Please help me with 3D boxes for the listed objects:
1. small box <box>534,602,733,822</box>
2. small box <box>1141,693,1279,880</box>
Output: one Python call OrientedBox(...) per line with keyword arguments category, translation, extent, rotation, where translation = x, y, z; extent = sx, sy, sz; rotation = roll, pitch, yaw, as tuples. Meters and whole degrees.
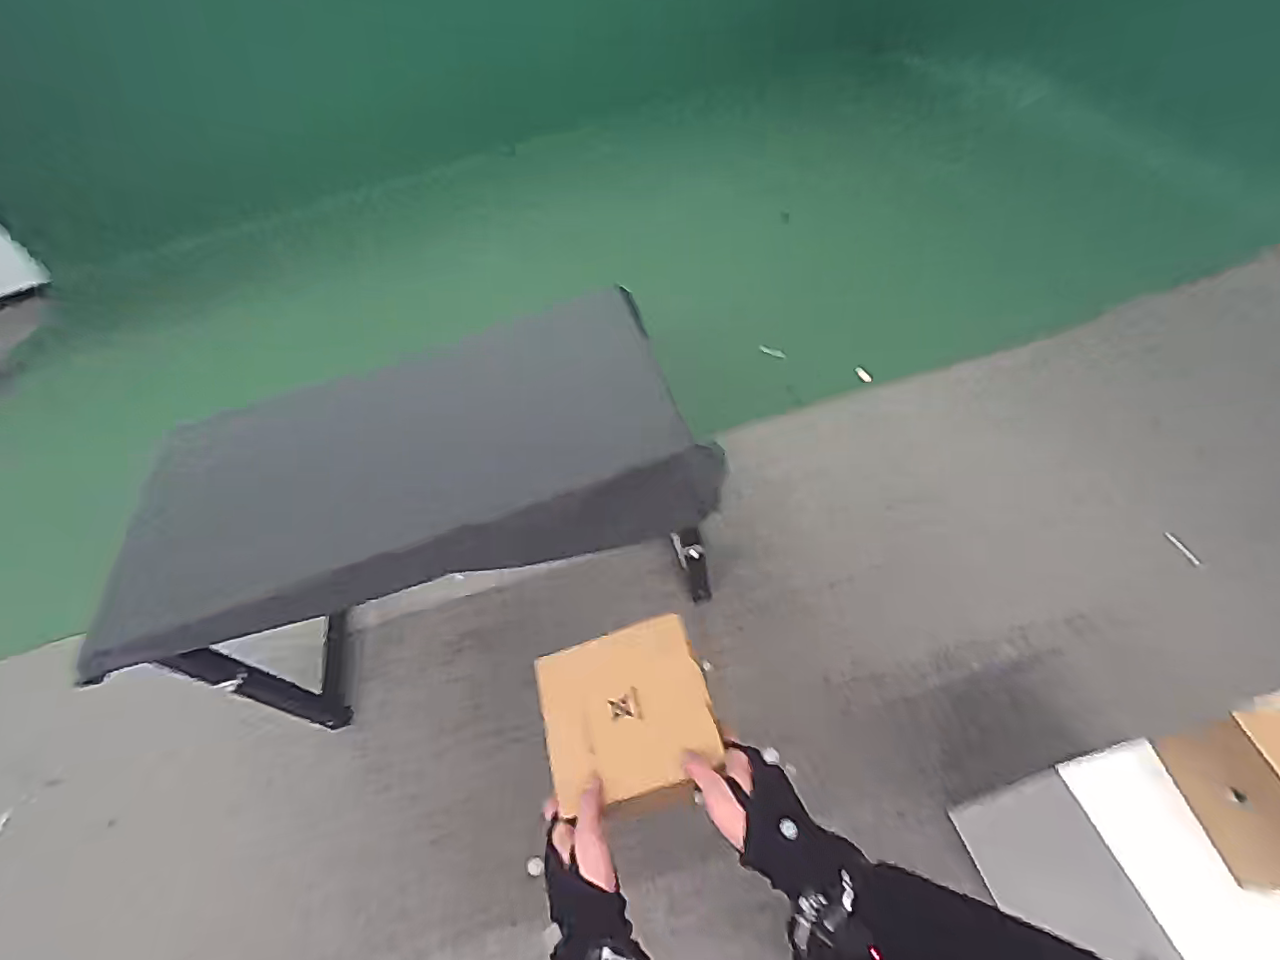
OrientedBox(category="small box", translation=(-0.001, 0.270, 0.622), extent=(0.179, 0.176, 0.168), rotation=(-20, 52, -1))
OrientedBox(category="small box", translation=(0.776, 0.362, 0.643), extent=(0.168, 0.176, 0.179), rotation=(-10, 53, 2))
